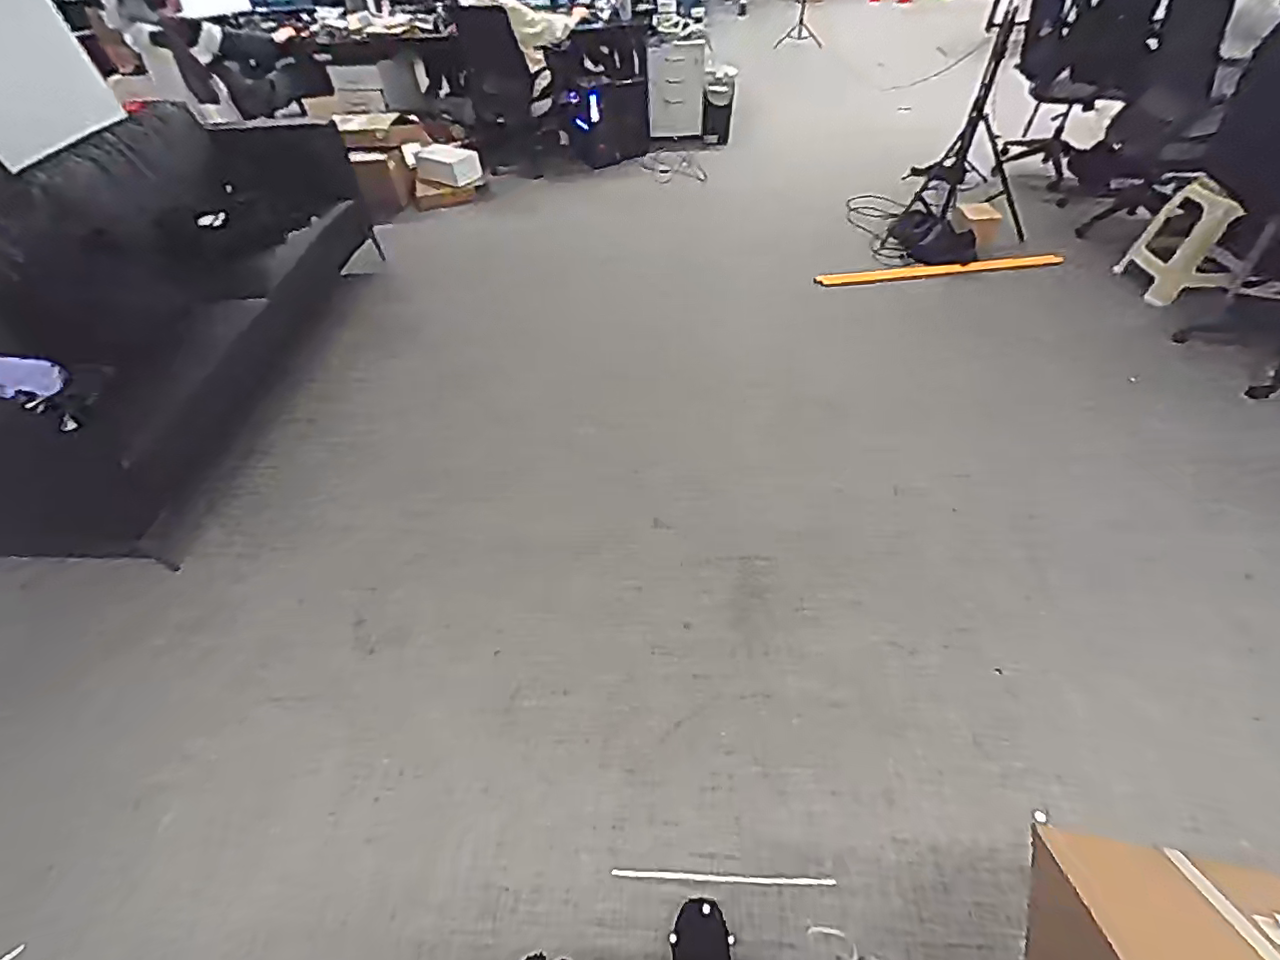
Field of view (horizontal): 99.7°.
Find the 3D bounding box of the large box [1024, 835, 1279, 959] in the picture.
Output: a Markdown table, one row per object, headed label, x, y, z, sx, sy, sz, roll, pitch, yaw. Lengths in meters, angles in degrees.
| label | x | y | z | sx | sy | sz | roll | pitch | yaw |
| --- | --- | --- | --- | --- | --- | --- | --- | --- | --- |
| large box | 0.653 | 0.677 | 0.565 | 0.320 | 0.408 | 0.320 | 4 | 91 | 17 |
